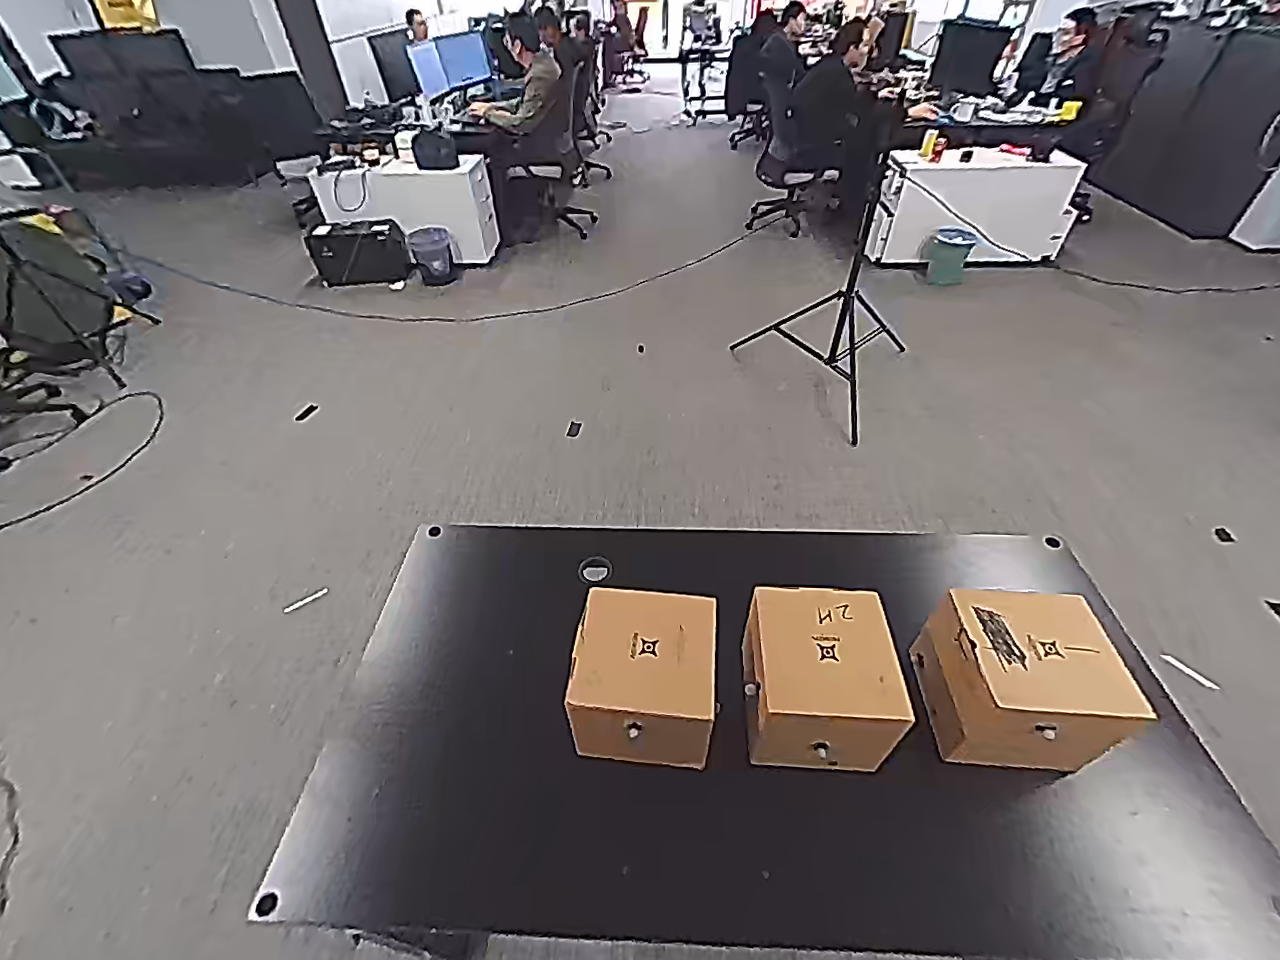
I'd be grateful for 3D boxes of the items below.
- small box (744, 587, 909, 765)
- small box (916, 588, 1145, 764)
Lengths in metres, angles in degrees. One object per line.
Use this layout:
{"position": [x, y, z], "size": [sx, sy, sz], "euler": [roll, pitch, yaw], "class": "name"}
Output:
{"position": [0.238, 0.269, 0.738], "size": [0.168, 0.176, 0.179], "euler": [2, 44, 3], "class": "small box"}
{"position": [0.498, 0.266, 0.731], "size": [0.179, 0.176, 0.168], "euler": [2, 44, 4], "class": "small box"}
